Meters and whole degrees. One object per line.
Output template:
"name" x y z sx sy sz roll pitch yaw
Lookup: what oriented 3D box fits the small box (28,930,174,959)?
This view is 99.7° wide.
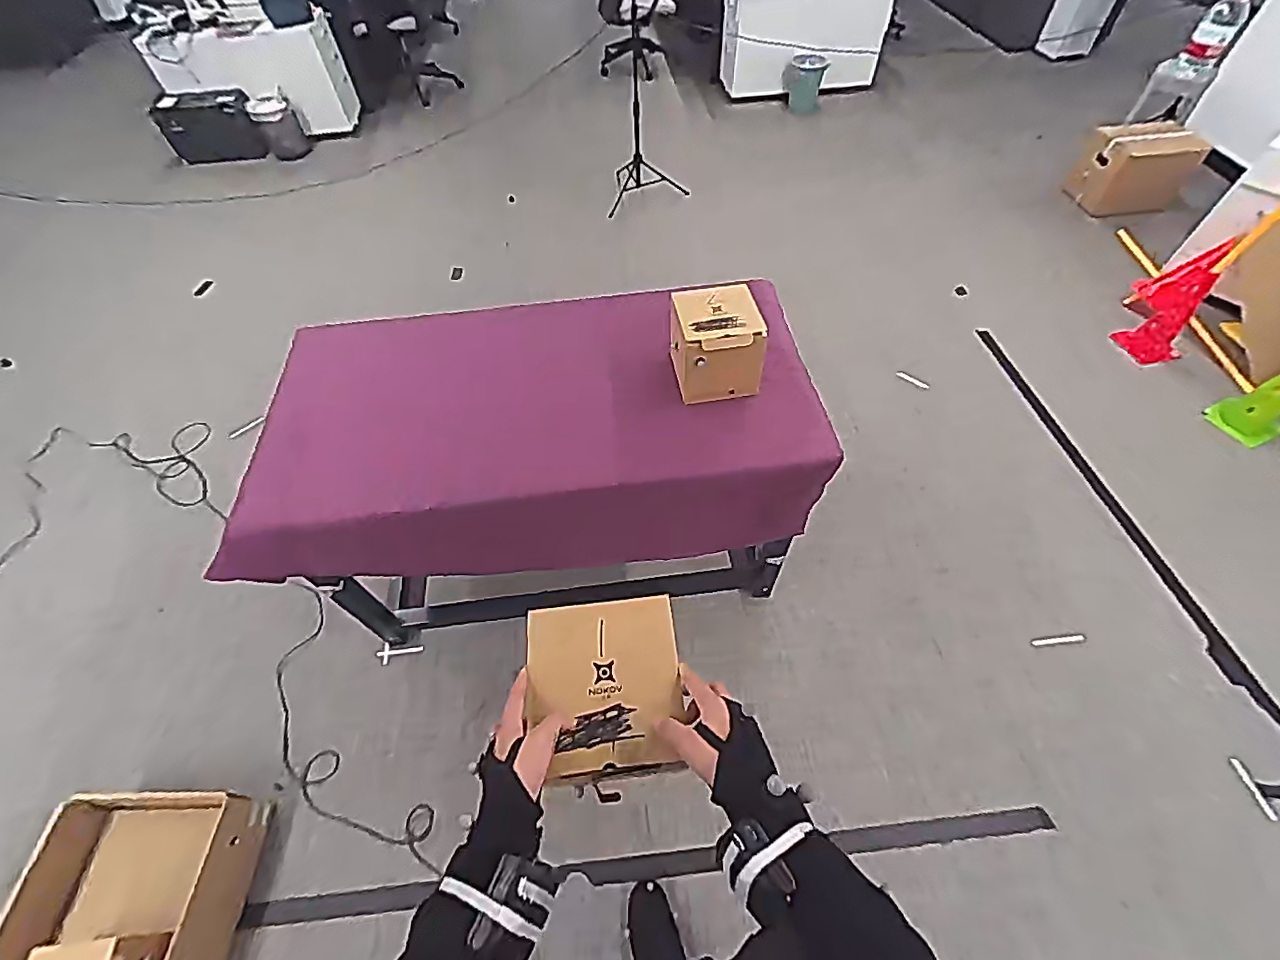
"small box" -1.126 1.042 1.109 0.179 0.176 0.168 -6 53 -2

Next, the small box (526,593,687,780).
"small box" -0.036 0.253 0.645 0.168 0.176 0.179 -6 58 -2
